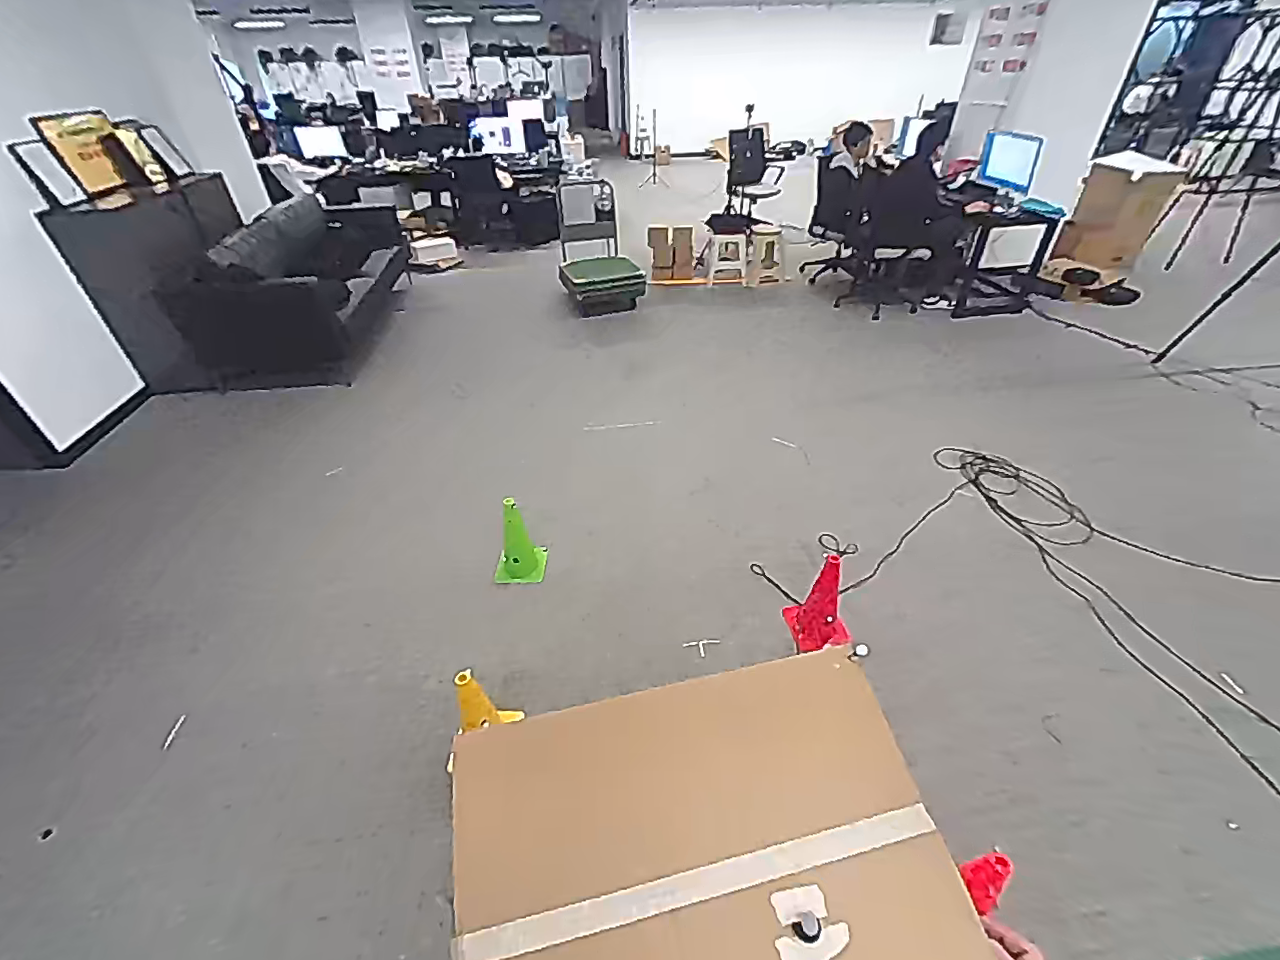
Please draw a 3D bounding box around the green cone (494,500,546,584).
[{"bbox_3d":[-0.510,0.224,2.174,0.200,0.368,0.202,-2,39,1],"label":"green cone"}]

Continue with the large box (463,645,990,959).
[{"bbox_3d":[0.055,0.417,0.577,0.408,0.320,0.320,-10,56,-9],"label":"large box"}]
